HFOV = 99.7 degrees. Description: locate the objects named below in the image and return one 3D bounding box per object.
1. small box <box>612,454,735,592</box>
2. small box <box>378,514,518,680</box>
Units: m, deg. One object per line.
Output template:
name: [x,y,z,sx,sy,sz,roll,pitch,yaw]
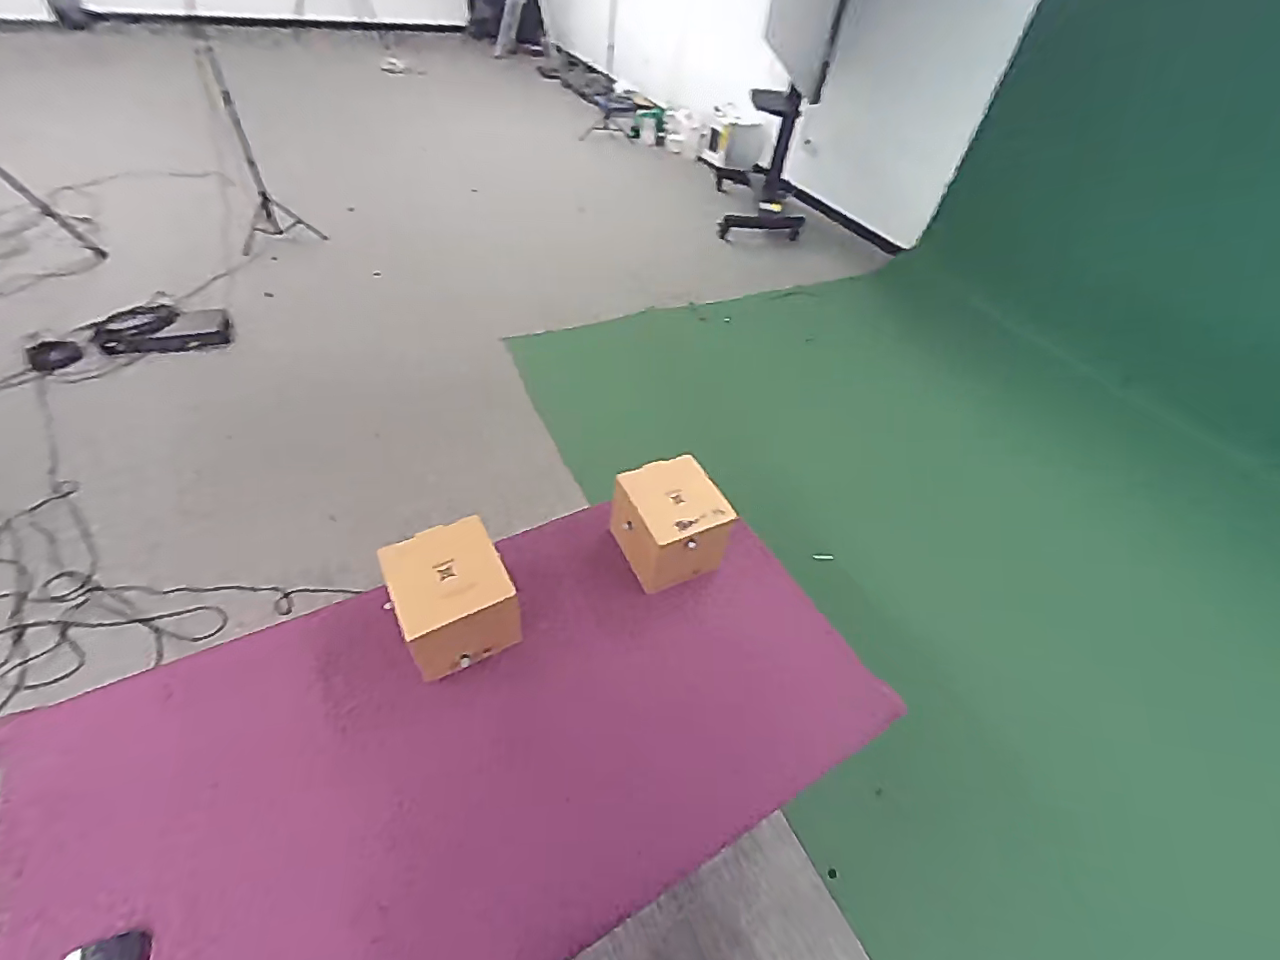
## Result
small box: [0.055,0.083,1.046,0.168,0.176,0.179,-18,52,-22]
small box: [-0.310,0.192,0.891,0.168,0.176,0.179,-20,54,-24]
